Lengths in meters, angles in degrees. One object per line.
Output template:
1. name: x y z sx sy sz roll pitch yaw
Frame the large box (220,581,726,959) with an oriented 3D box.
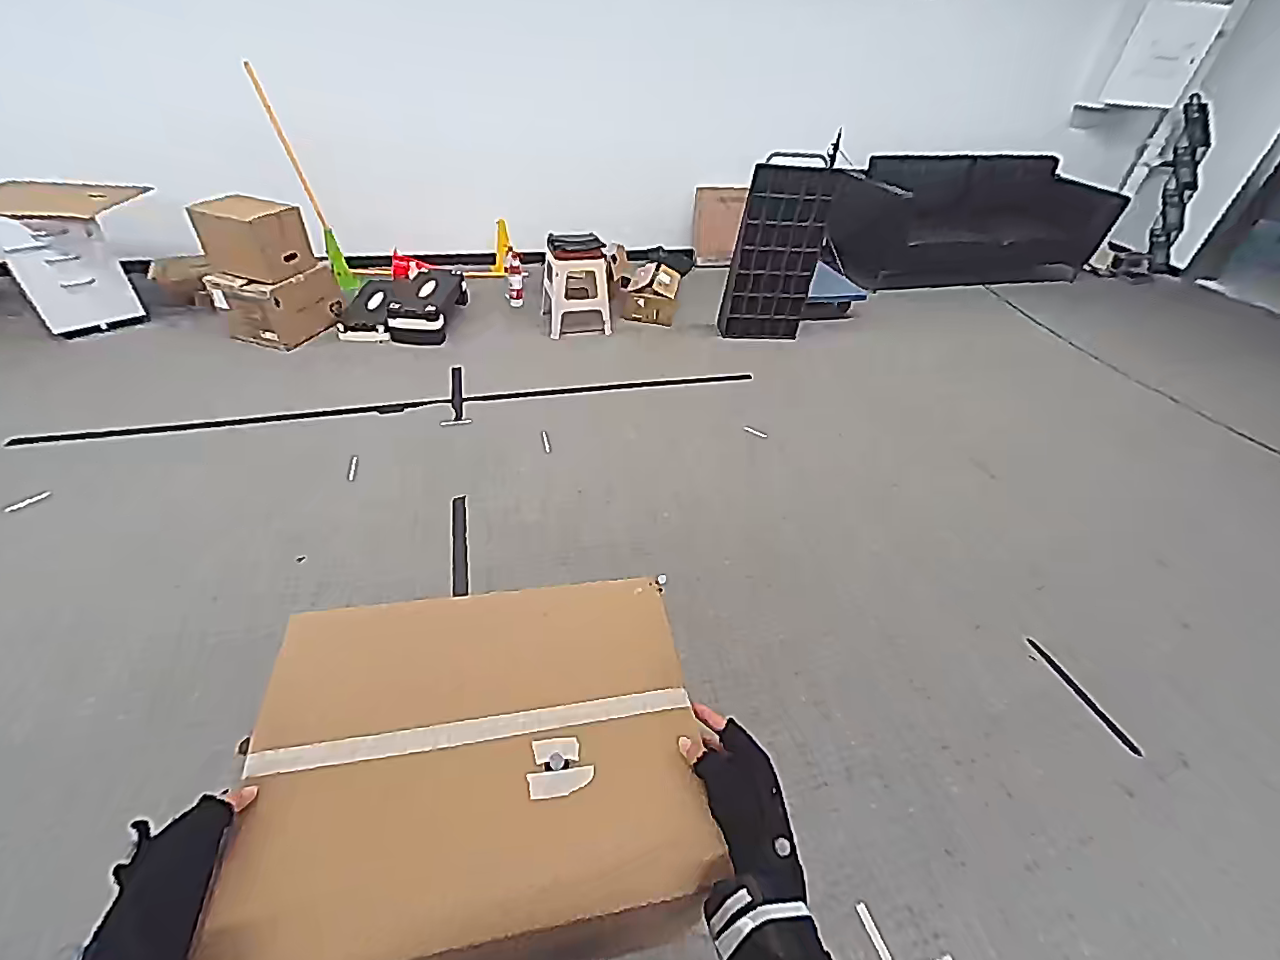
1. large box: -0.161 0.352 0.636 0.408 0.320 0.320 -3 45 -12
